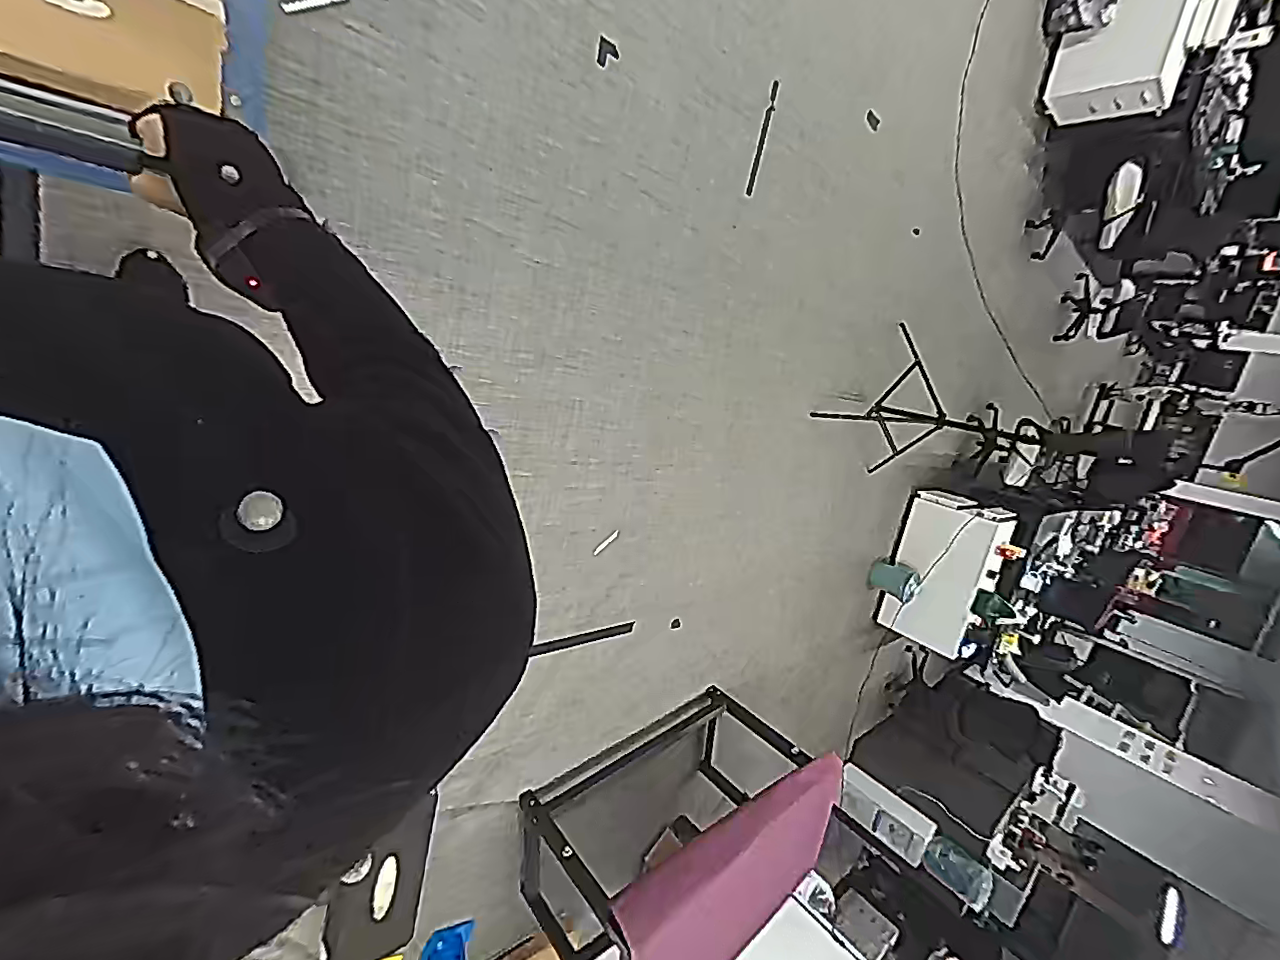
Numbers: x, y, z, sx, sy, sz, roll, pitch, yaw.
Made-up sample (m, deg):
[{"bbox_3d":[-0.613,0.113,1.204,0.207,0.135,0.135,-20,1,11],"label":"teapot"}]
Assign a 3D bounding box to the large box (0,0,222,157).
[{"bbox_3d":[-0.808,-0.663,0.689,0.408,0.320,0.320,-3,110,-43],"label":"large box"}]
